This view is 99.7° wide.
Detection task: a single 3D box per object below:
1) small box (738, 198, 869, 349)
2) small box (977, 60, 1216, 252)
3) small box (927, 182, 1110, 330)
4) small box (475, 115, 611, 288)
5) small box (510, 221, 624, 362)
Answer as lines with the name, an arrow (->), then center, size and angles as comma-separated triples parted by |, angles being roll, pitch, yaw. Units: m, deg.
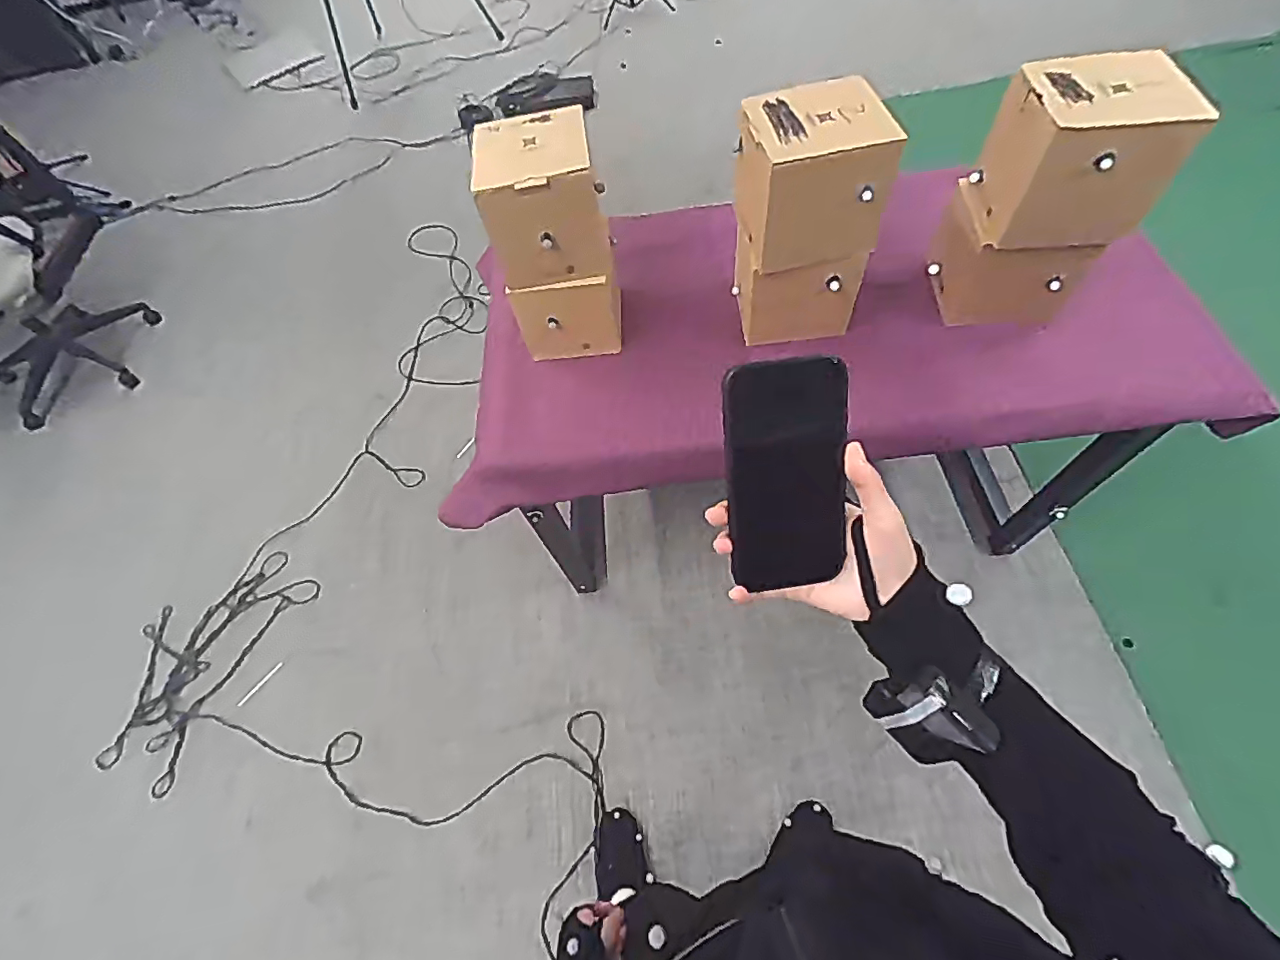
small box -> 0.266, -0.346, 0.925 | 0.179, 0.176, 0.168 | -5, 59, 5
small box -> 0.594, -0.434, 0.741 | 0.179, 0.176, 0.168 | 0, 59, 7
small box -> 0.604, -0.365, 0.889 | 0.179, 0.176, 0.168 | 0, 59, 8
small box -> -0.142, -0.417, 0.835 | 0.168, 0.176, 0.179 | -9, 60, 2
small box -> -0.121, -0.328, 0.971 | 0.168, 0.176, 0.179 | -5, 59, 5
